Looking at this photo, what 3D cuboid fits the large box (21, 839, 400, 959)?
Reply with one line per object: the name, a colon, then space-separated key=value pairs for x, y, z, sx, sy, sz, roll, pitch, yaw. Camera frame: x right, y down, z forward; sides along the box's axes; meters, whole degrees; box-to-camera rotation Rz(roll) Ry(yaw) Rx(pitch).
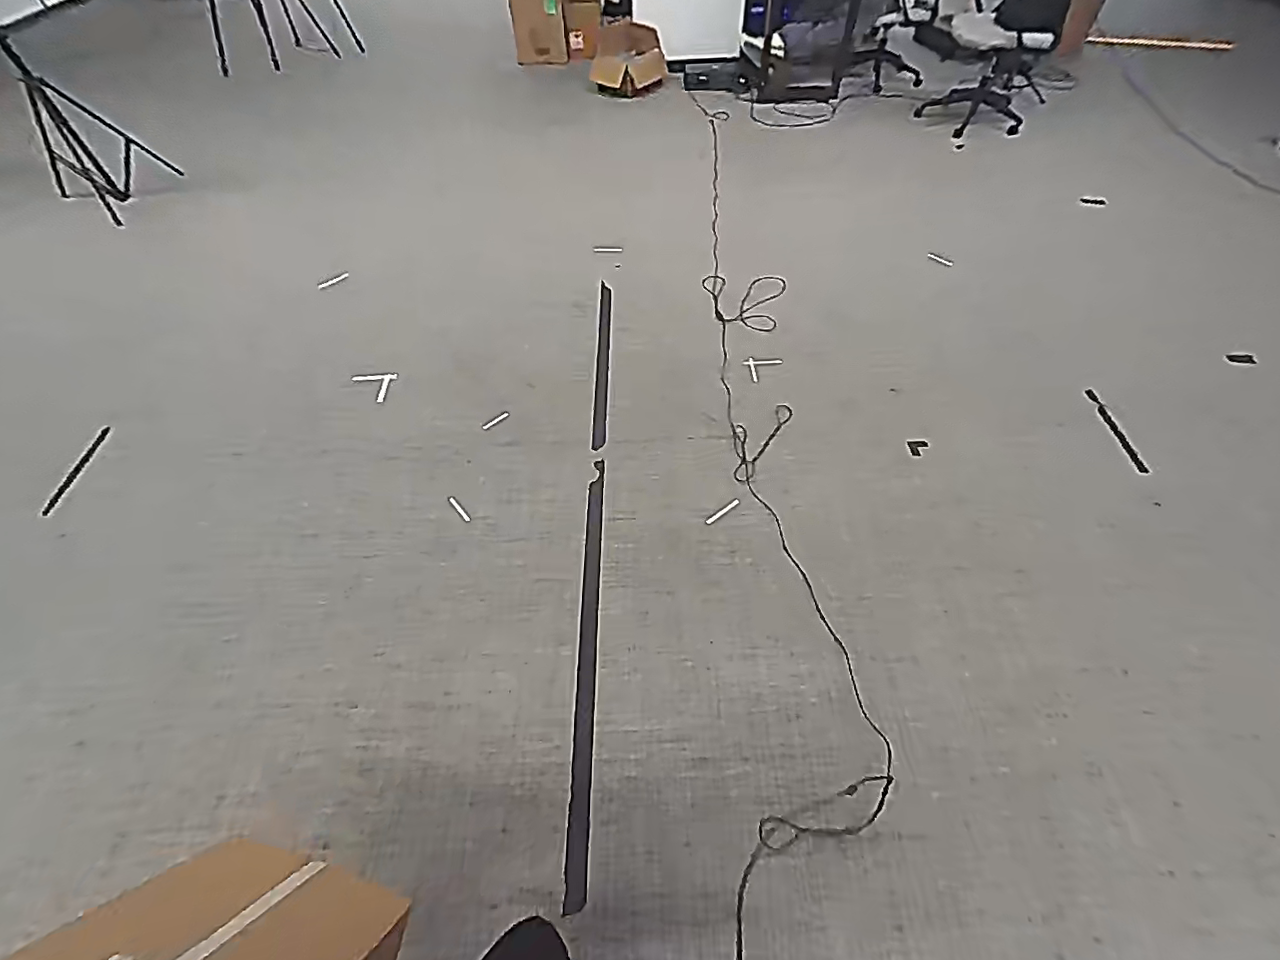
large box: x=-0.555 y=0.708 z=0.610 sx=0.320 sy=0.408 sz=0.320 roll=13 pitch=83 yaw=9
